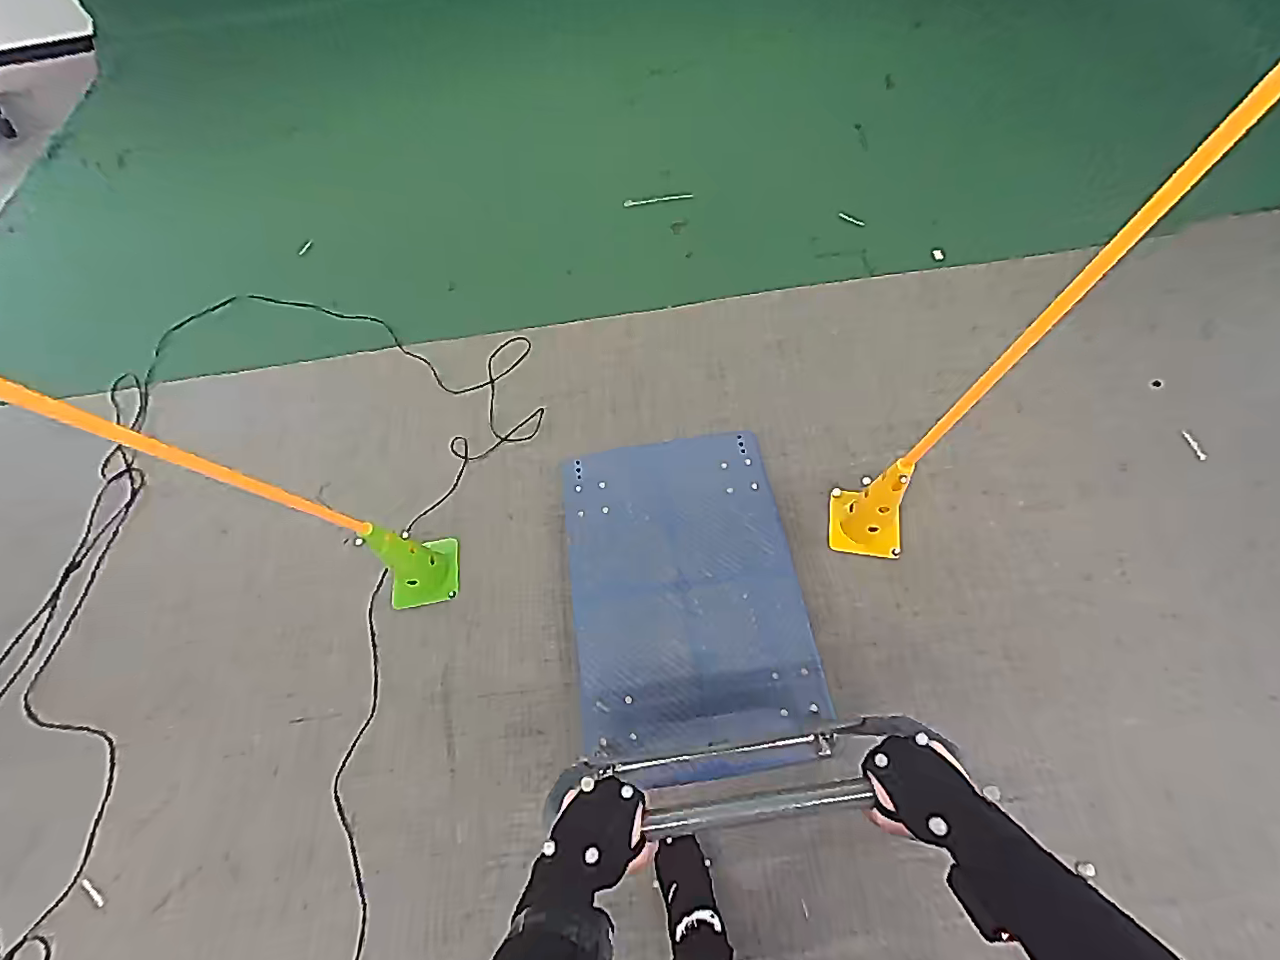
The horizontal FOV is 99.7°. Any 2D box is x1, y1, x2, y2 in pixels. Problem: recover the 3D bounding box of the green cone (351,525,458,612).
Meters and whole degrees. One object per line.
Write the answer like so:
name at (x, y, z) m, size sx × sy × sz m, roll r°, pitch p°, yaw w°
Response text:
green cone at (-0.674, 0.208, 1.500) m, size 0.202 × 0.368 × 0.200 m, roll -12°, pitch 61°, yaw 1°
